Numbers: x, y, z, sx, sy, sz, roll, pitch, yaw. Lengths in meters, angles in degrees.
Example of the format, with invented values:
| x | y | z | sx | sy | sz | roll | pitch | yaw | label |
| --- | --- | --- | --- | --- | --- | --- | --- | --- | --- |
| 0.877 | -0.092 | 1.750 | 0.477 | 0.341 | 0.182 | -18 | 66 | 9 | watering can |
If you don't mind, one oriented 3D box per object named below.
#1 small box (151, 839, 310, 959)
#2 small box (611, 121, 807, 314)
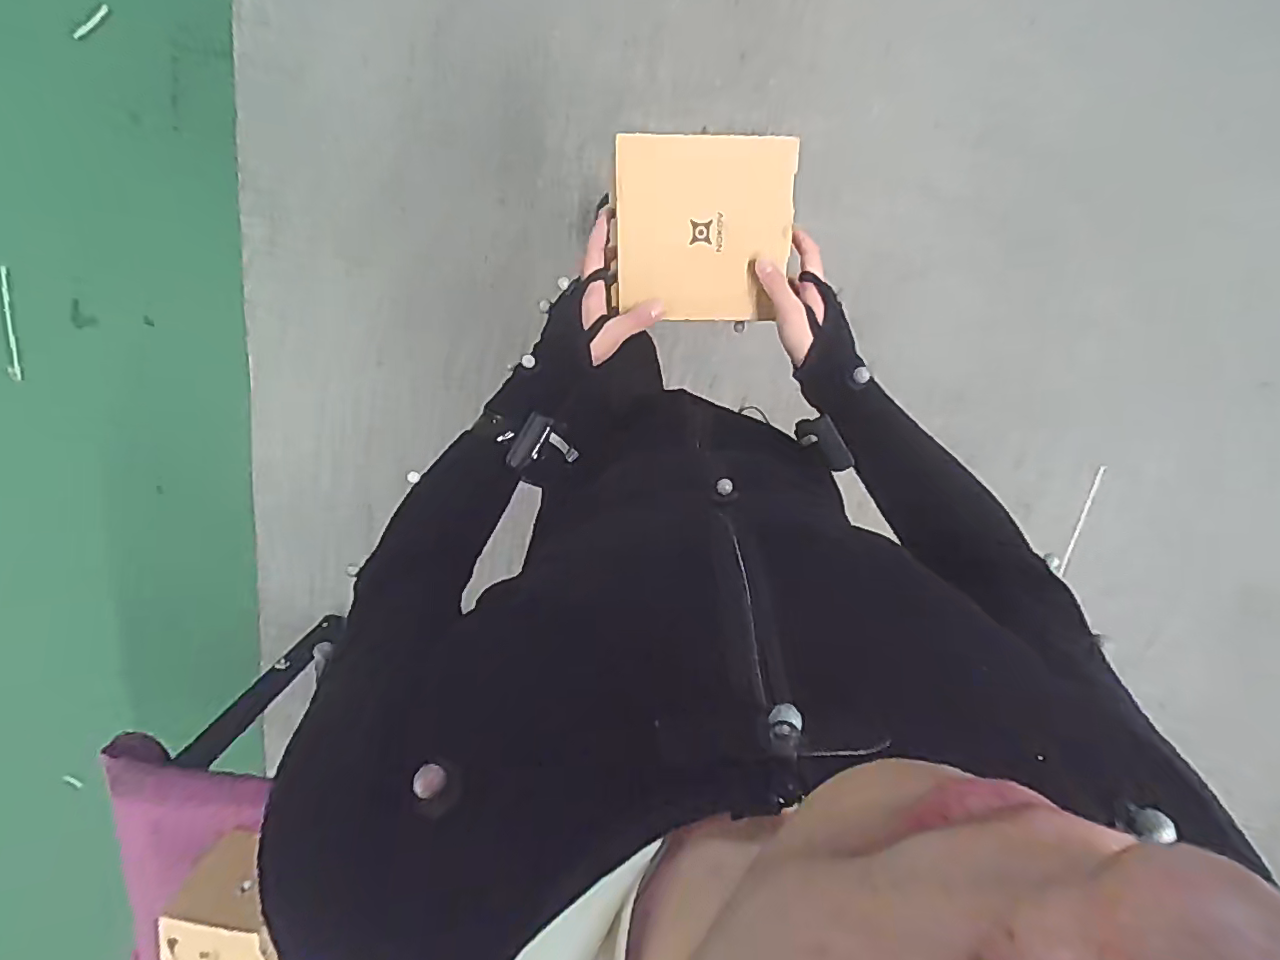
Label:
| x | y | z | sx | sy | sz | roll | pitch | yaw | label |
| --- | --- | --- | --- | --- | --- | --- | --- | --- | --- |
| -0.744 | 0.805 | 1.000 | 0.179 | 0.176 | 0.168 | 13 | 106 | -4 | small box |
| 0.058 | -0.272 | 0.590 | 0.179 | 0.176 | 0.168 | -2 | 111 | -6 | small box |
